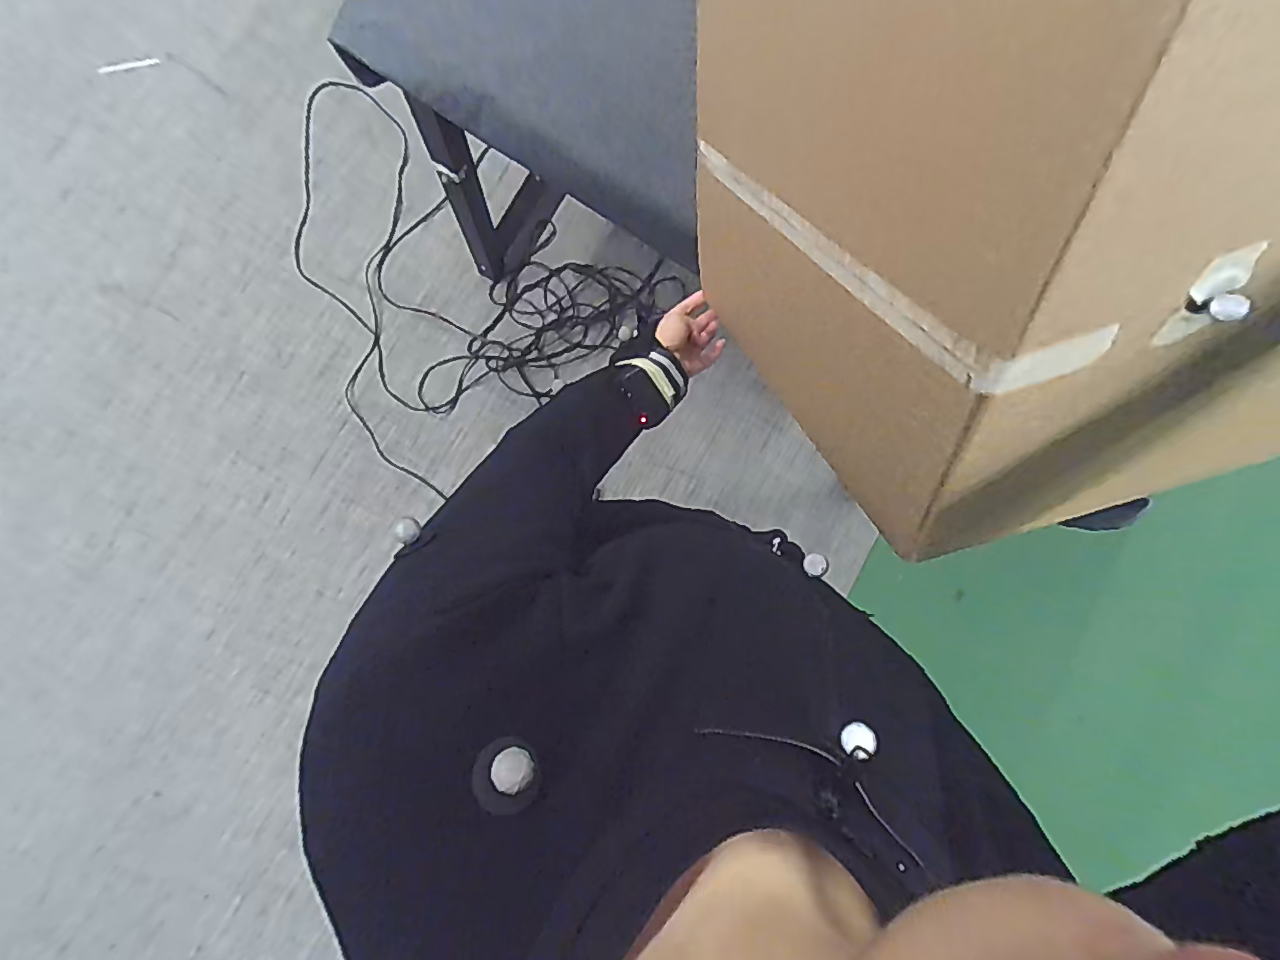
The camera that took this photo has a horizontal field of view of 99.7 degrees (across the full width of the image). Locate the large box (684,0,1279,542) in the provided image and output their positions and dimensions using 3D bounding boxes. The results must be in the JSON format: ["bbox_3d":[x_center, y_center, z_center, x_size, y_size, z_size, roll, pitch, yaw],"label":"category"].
[{"bbox_3d":[0.250,-0.230,0.398,0.320,0.320,0.408,-17,48,-8],"label":"large box"}]
